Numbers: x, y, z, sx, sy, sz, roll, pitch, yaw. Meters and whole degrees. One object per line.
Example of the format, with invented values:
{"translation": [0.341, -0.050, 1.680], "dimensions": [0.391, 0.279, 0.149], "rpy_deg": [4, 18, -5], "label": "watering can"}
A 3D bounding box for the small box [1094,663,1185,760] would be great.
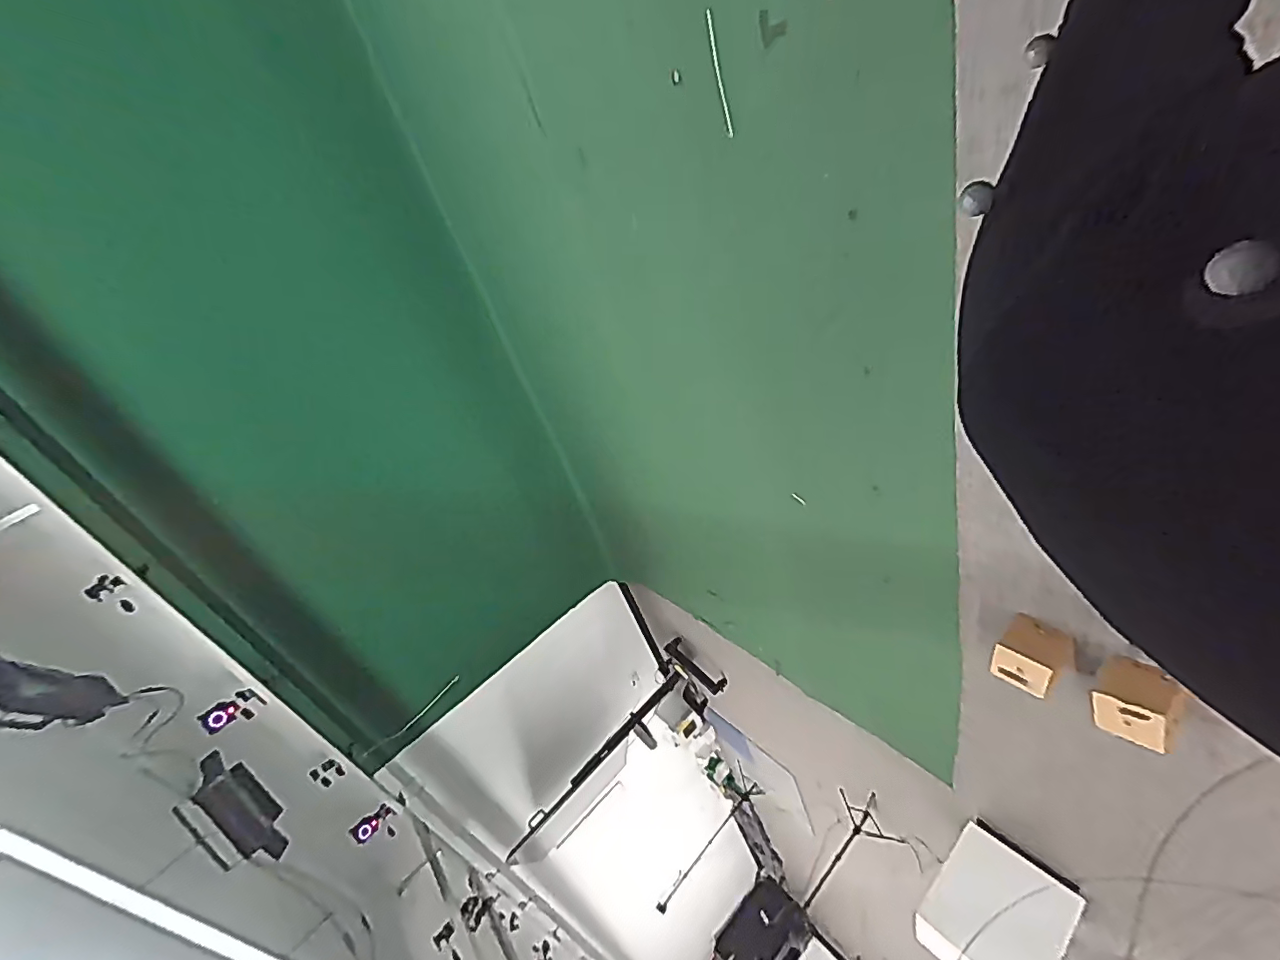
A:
{"translation": [1.507, 0.689, 1.631], "dimensions": [0.168, 0.176, 0.179], "rpy_deg": [14, 135, 55], "label": "small box"}
